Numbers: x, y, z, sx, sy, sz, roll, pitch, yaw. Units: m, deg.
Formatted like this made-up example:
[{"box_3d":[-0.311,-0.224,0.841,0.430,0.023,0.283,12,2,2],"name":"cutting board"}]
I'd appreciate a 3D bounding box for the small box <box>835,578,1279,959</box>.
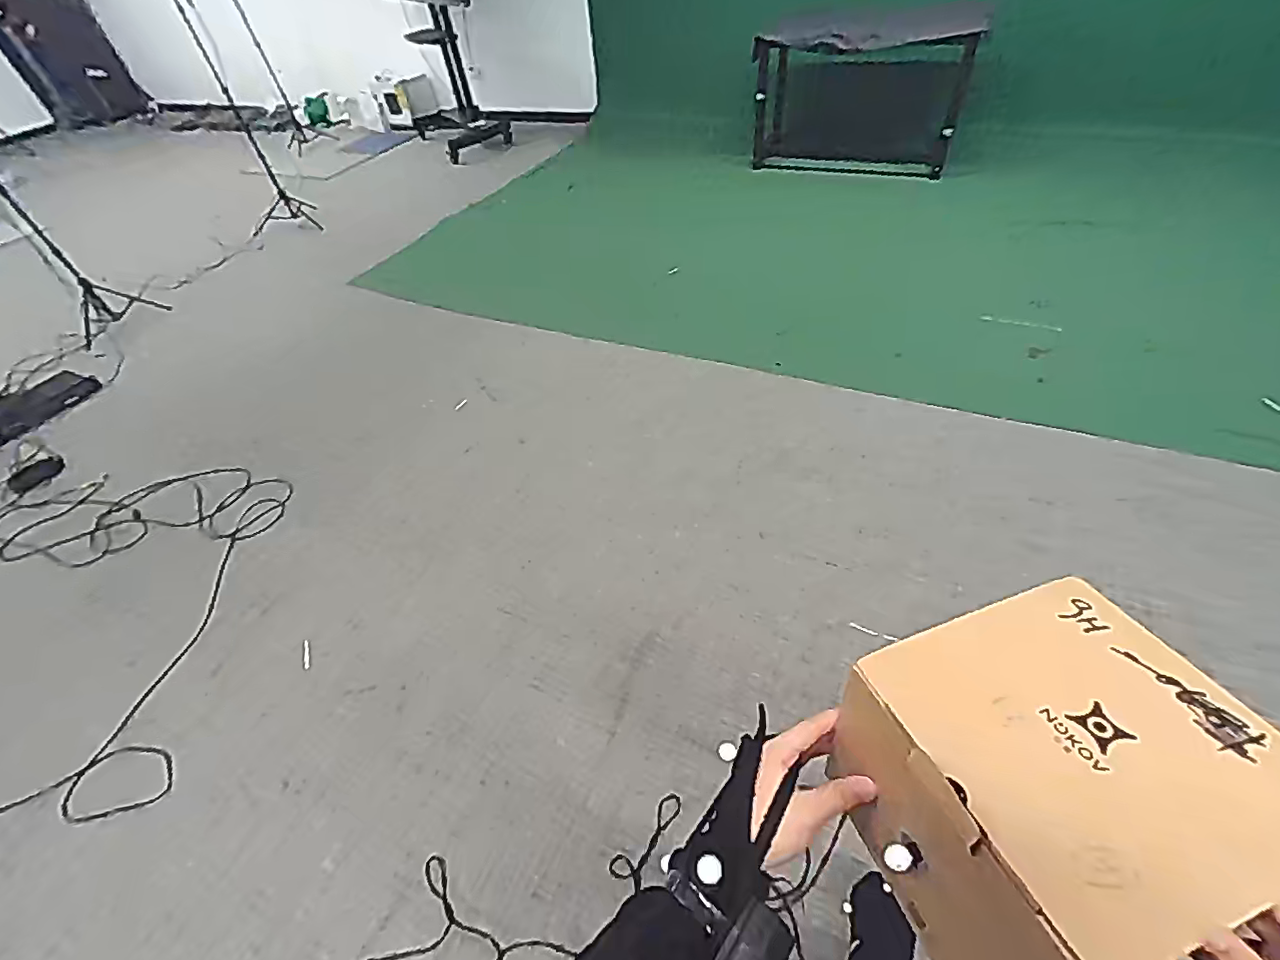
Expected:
[{"box_3d":[0.244,0.199,0.347,0.179,0.176,0.168,-16,40,-10],"name":"small box"}]
